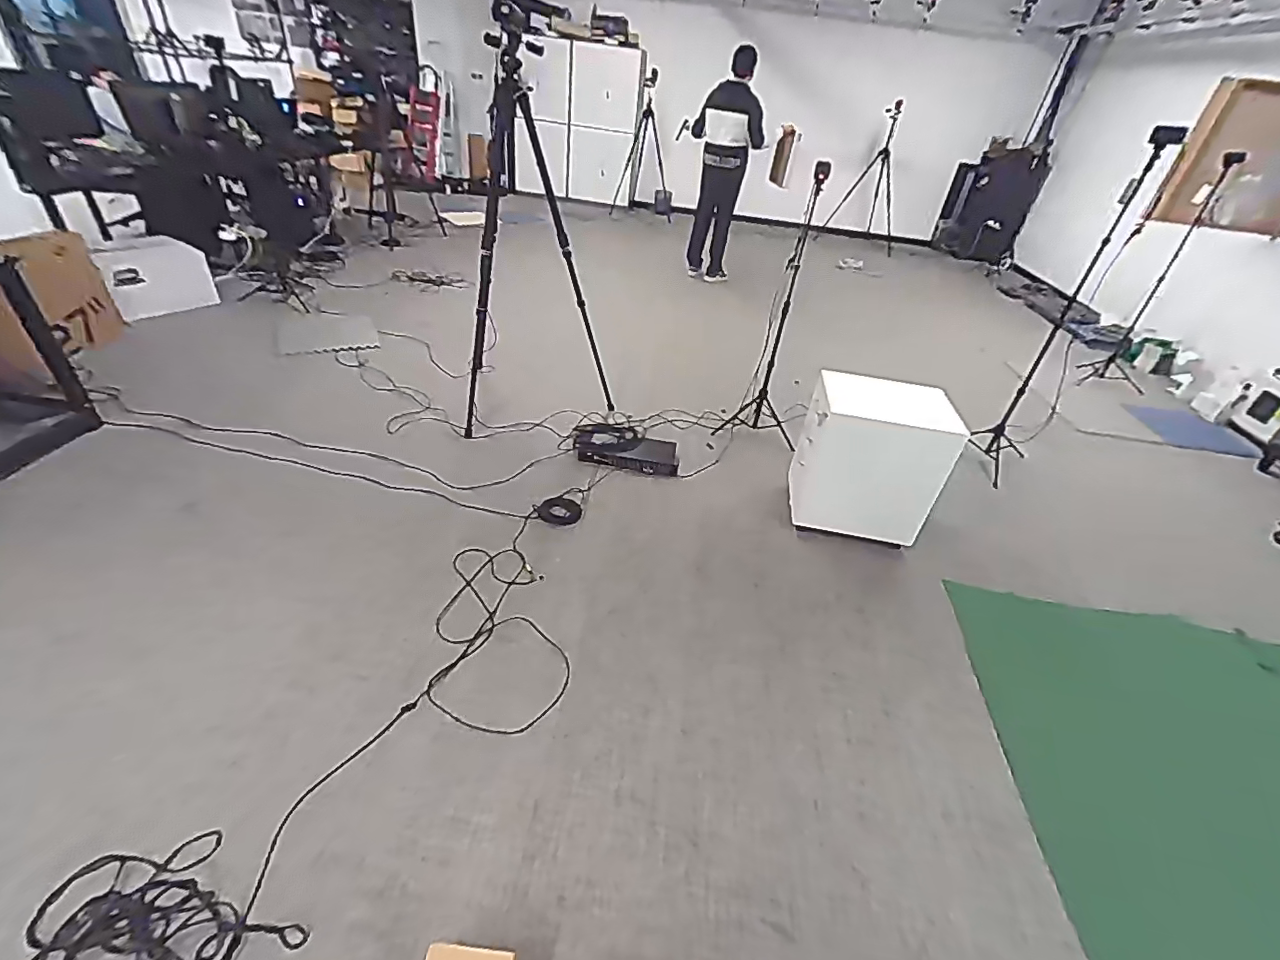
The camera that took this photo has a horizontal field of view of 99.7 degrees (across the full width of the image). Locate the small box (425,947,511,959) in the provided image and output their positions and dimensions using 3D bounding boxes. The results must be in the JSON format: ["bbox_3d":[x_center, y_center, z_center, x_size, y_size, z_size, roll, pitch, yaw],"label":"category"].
[{"bbox_3d":[-0.332,1.006,0.996,0.168,0.176,0.179,8,35,0],"label":"small box"}]
